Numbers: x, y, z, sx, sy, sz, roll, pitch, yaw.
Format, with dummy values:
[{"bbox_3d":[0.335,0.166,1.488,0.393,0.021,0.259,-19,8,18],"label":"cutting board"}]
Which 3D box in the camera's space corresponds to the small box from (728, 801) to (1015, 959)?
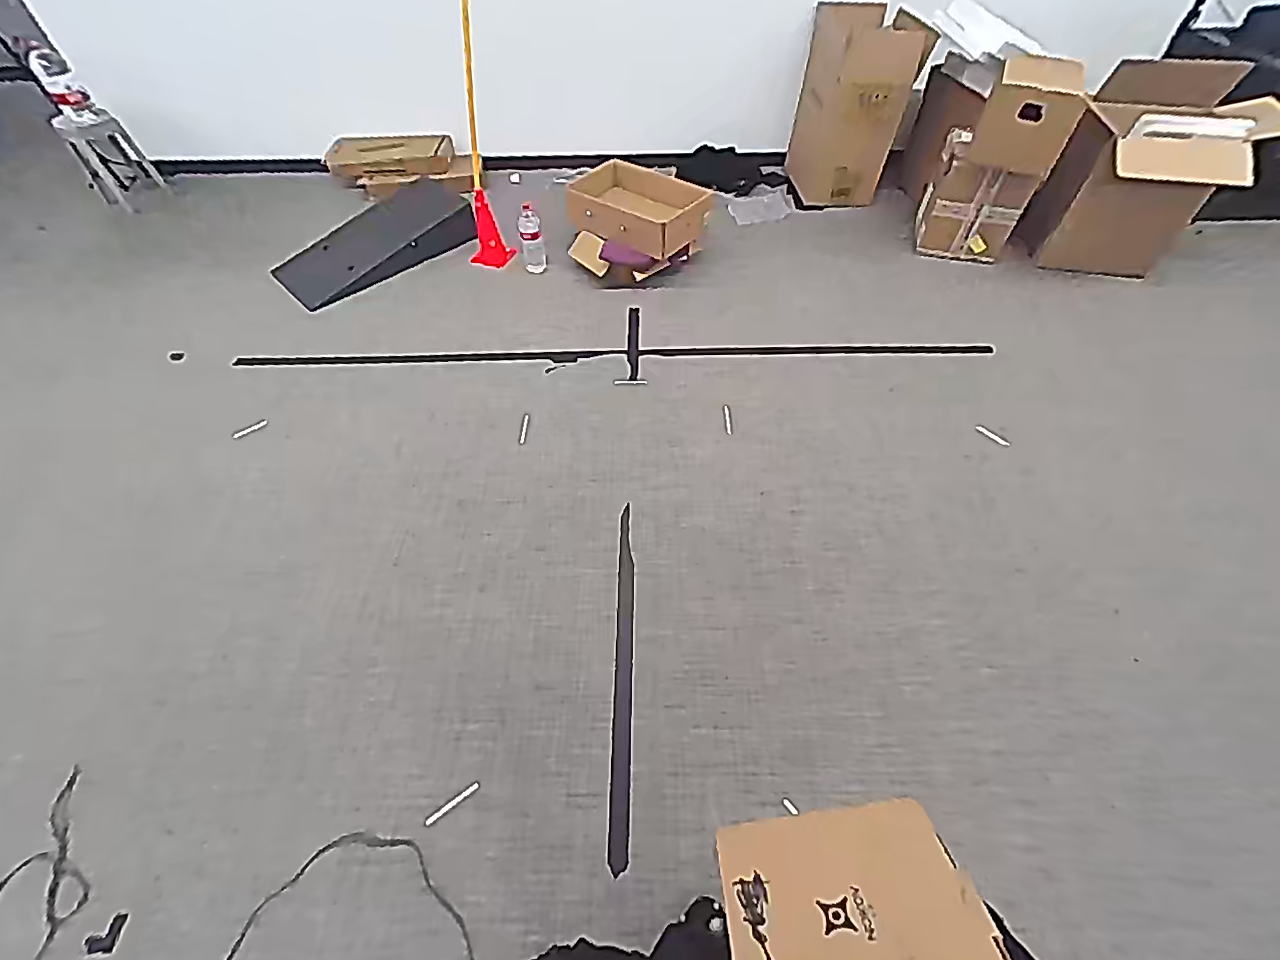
[{"bbox_3d":[0.175,0.390,0.416,0.179,0.176,0.168,-11,17,4],"label":"small box"}]
